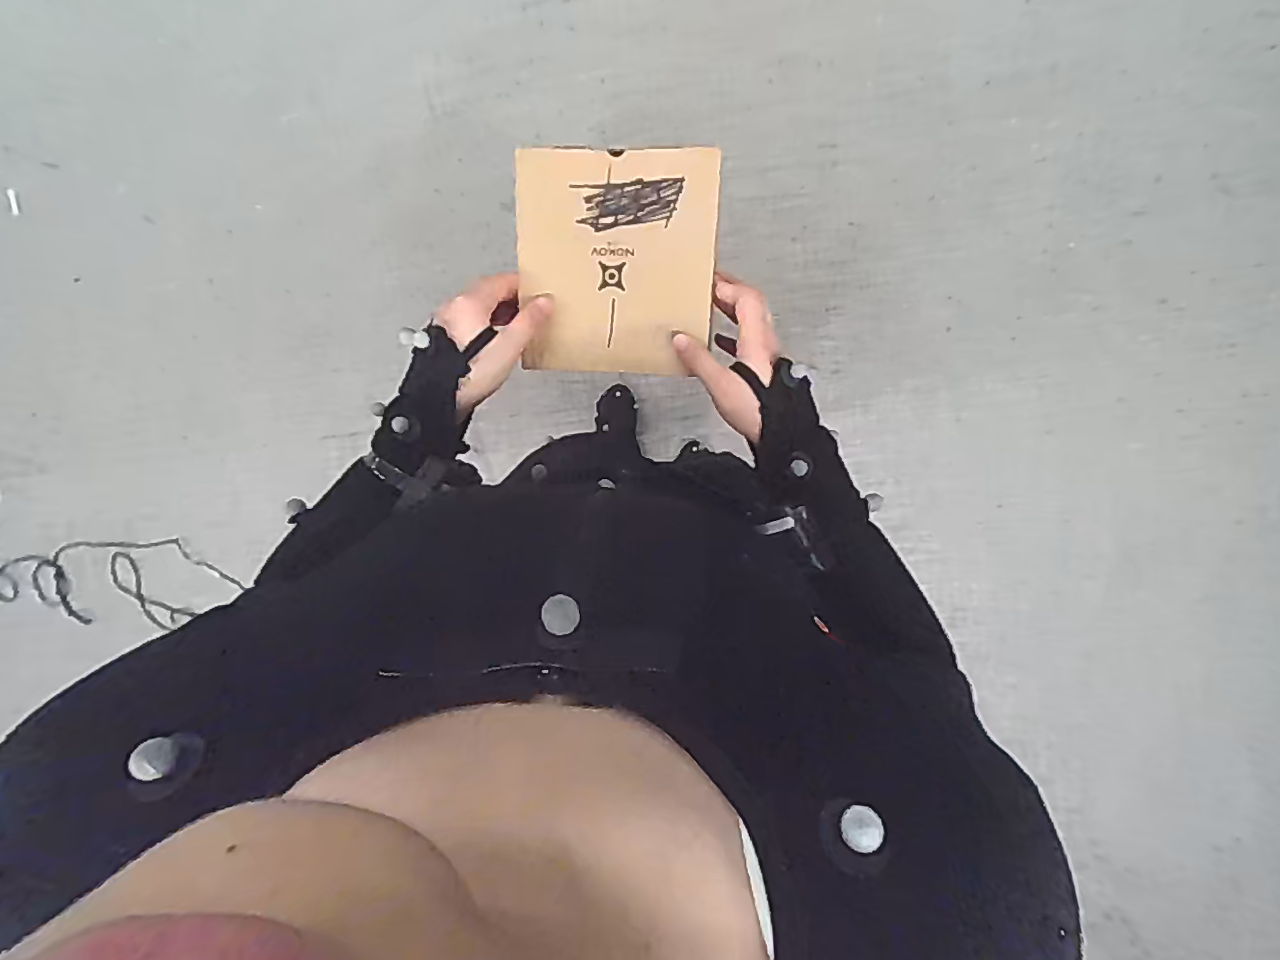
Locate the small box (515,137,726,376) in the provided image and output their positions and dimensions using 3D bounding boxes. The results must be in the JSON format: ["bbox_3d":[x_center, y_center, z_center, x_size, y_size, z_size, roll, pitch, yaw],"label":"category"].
[{"bbox_3d":[-0.011,-0.197,0.511,0.168,0.176,0.179,5,106,7],"label":"small box"}]
